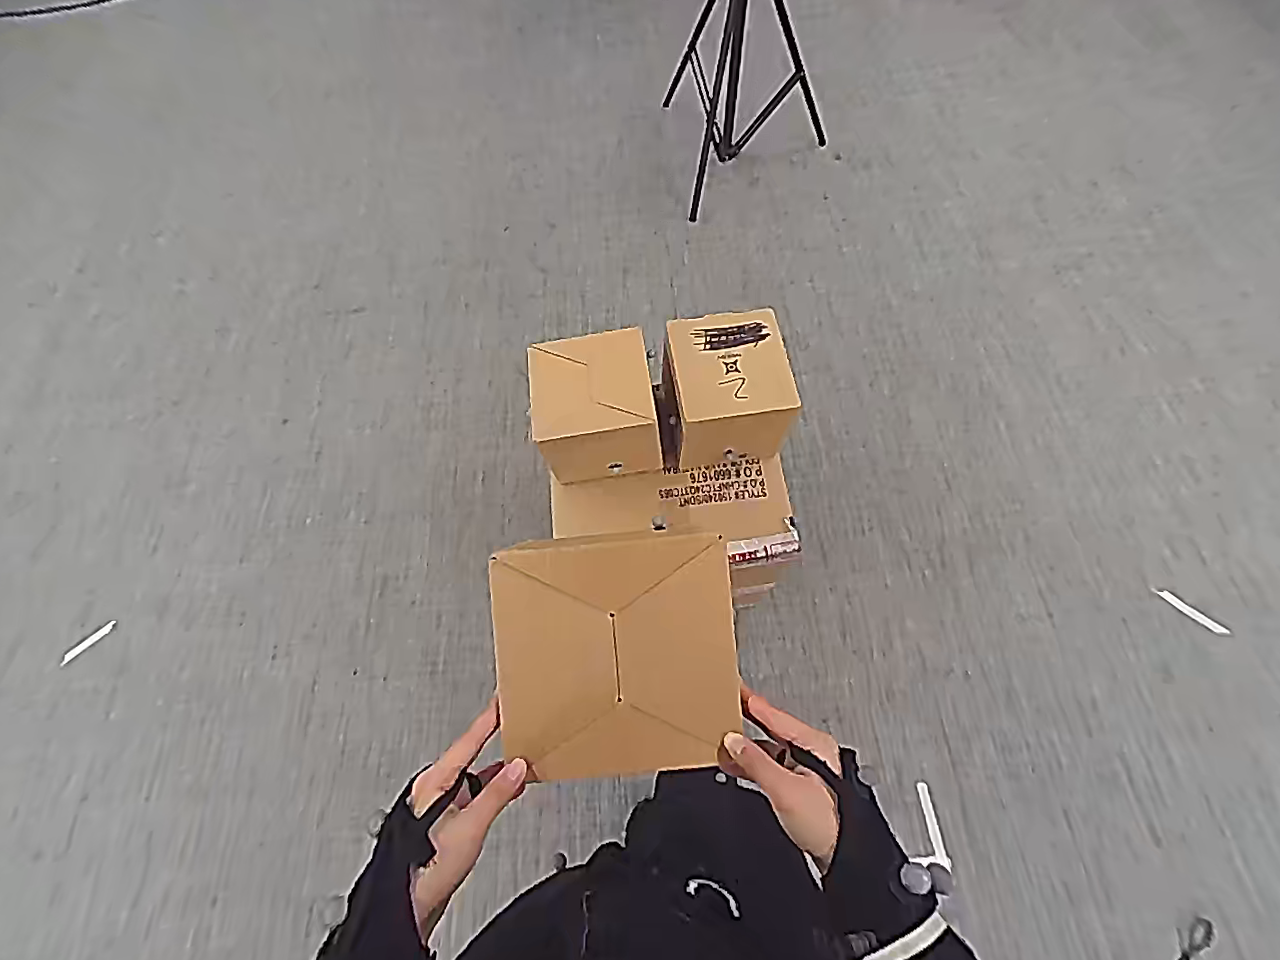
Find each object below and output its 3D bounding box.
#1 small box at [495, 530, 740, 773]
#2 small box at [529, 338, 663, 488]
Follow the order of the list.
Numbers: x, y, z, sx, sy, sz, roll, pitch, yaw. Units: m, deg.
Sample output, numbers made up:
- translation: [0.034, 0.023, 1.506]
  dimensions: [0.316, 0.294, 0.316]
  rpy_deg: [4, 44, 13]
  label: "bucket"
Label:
- translation: [-0.021, 0.134, 0.477]
  dimensions: [0.179, 0.176, 0.168]
  rpy_deg: [-5, 87, -1]
  label: "small box"
- translation: [-0.064, -0.103, 0.856]
  dimensions: [0.179, 0.176, 0.168]
  rpy_deg: [-9, 67, 2]
  label: "small box"
